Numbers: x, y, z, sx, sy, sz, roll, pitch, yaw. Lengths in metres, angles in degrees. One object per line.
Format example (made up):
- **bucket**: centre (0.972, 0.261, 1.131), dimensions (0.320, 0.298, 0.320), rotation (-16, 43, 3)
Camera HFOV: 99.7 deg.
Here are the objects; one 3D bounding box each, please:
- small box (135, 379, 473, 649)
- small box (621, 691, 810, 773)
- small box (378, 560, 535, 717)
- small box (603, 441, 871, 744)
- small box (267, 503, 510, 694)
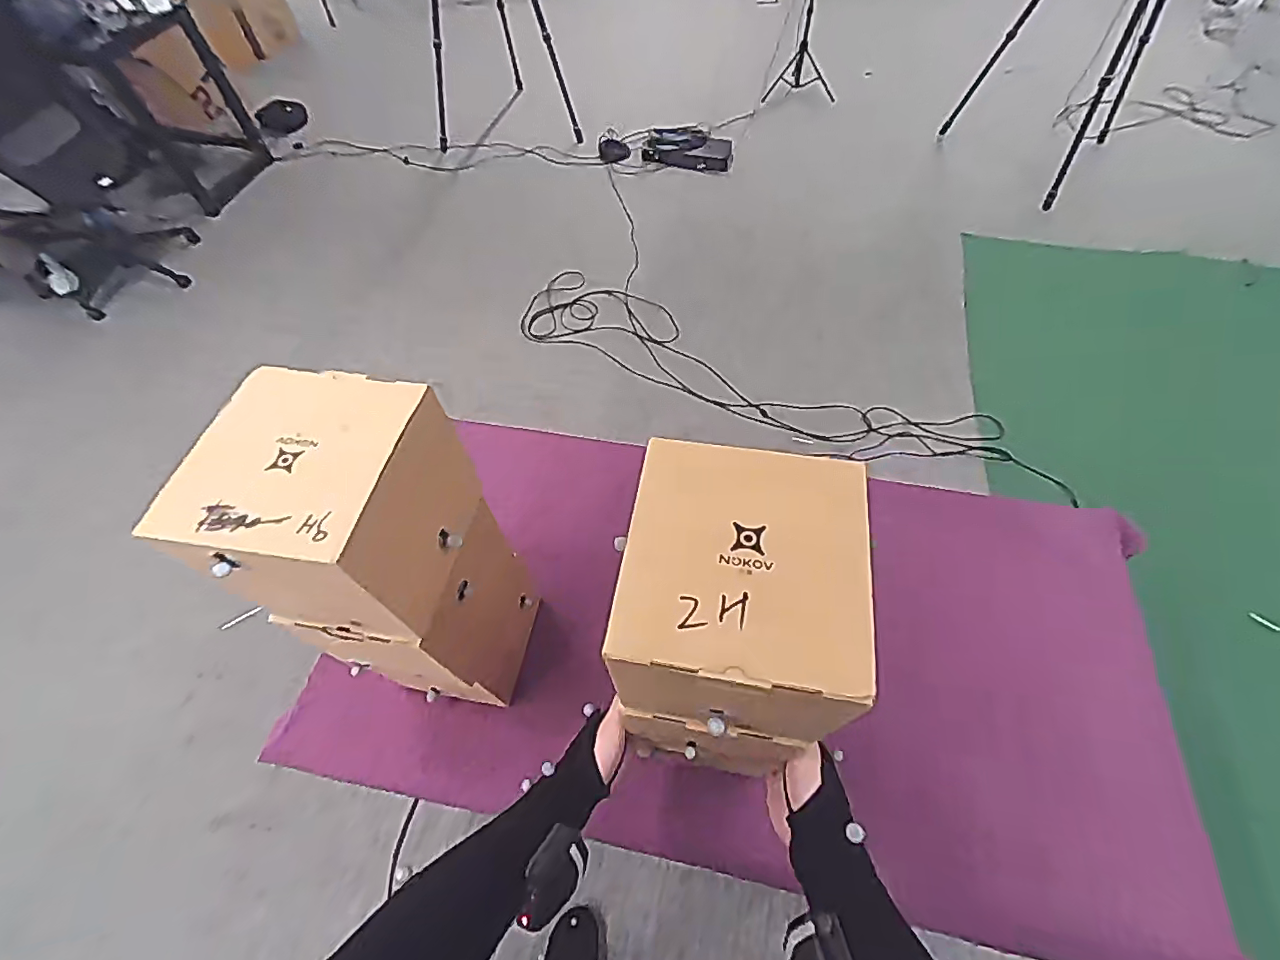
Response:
- **small box**: centre (-0.272, 0.033, 0.496), dimensions (0.168, 0.176, 0.179), rotation (6, 55, 9)
- **small box**: centre (0.080, 0.191, 0.571), dimensions (0.168, 0.176, 0.179), rotation (6, 57, 8)
- **small box**: centre (-0.258, 0.217, 0.768), dimensions (0.168, 0.176, 0.179), rotation (7, 57, 8)
- **small box**: centre (0.075, 0.094, 0.438), dimensions (0.168, 0.176, 0.179), rotation (7, 57, 9)
- **small box**: centre (-0.267, 0.132, 0.628), dimensions (0.168, 0.176, 0.179), rotation (7, 55, 8)
